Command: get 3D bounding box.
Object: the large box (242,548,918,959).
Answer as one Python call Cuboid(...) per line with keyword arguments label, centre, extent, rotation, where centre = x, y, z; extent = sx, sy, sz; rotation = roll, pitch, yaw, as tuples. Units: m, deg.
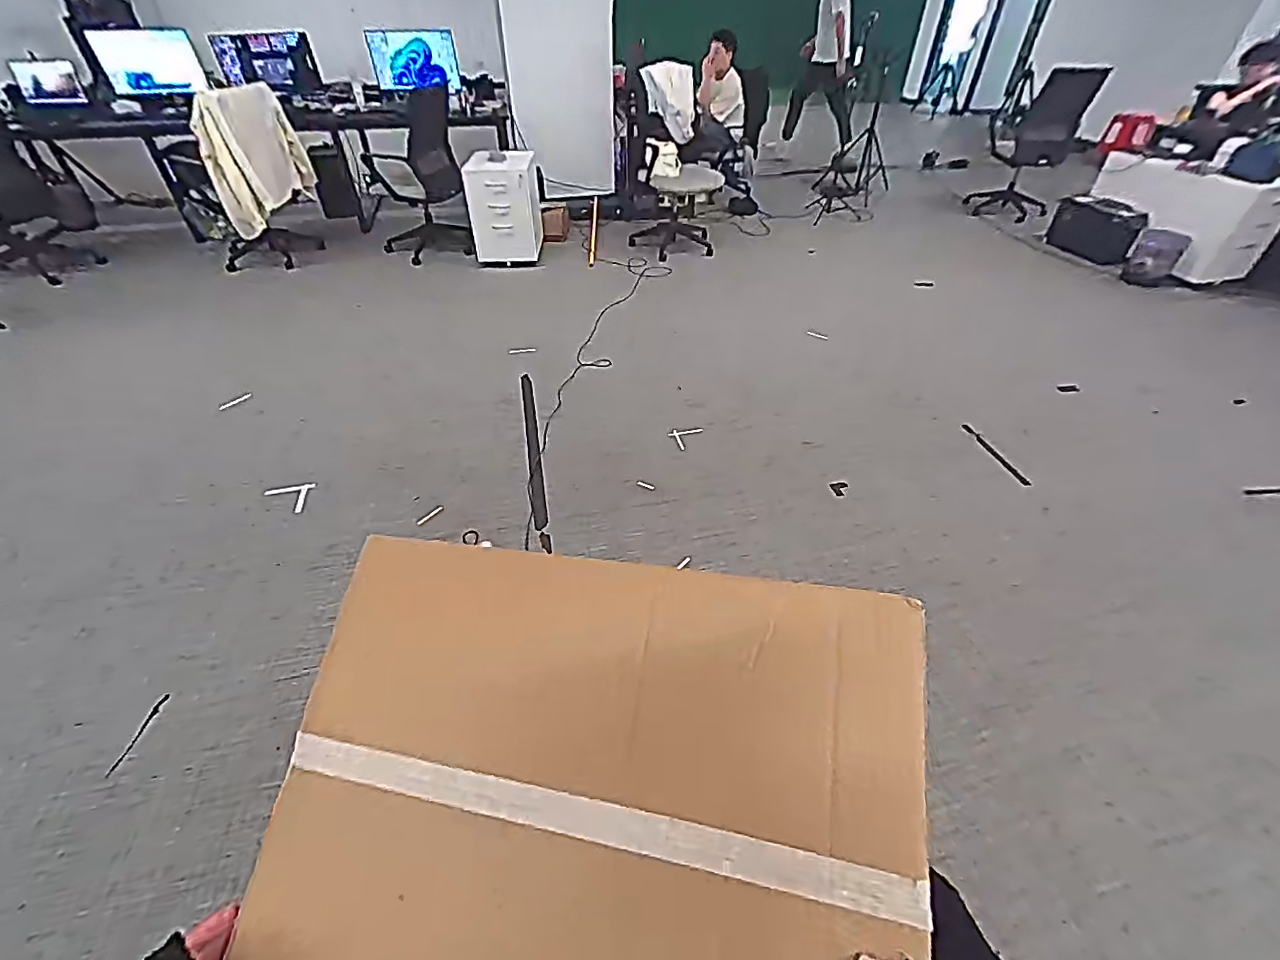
Cuboid(label="large box", centre=(-0.012, 0.266, 0.472), extent=(0.408, 0.320, 0.320), rotation=(5, 69, 16))
